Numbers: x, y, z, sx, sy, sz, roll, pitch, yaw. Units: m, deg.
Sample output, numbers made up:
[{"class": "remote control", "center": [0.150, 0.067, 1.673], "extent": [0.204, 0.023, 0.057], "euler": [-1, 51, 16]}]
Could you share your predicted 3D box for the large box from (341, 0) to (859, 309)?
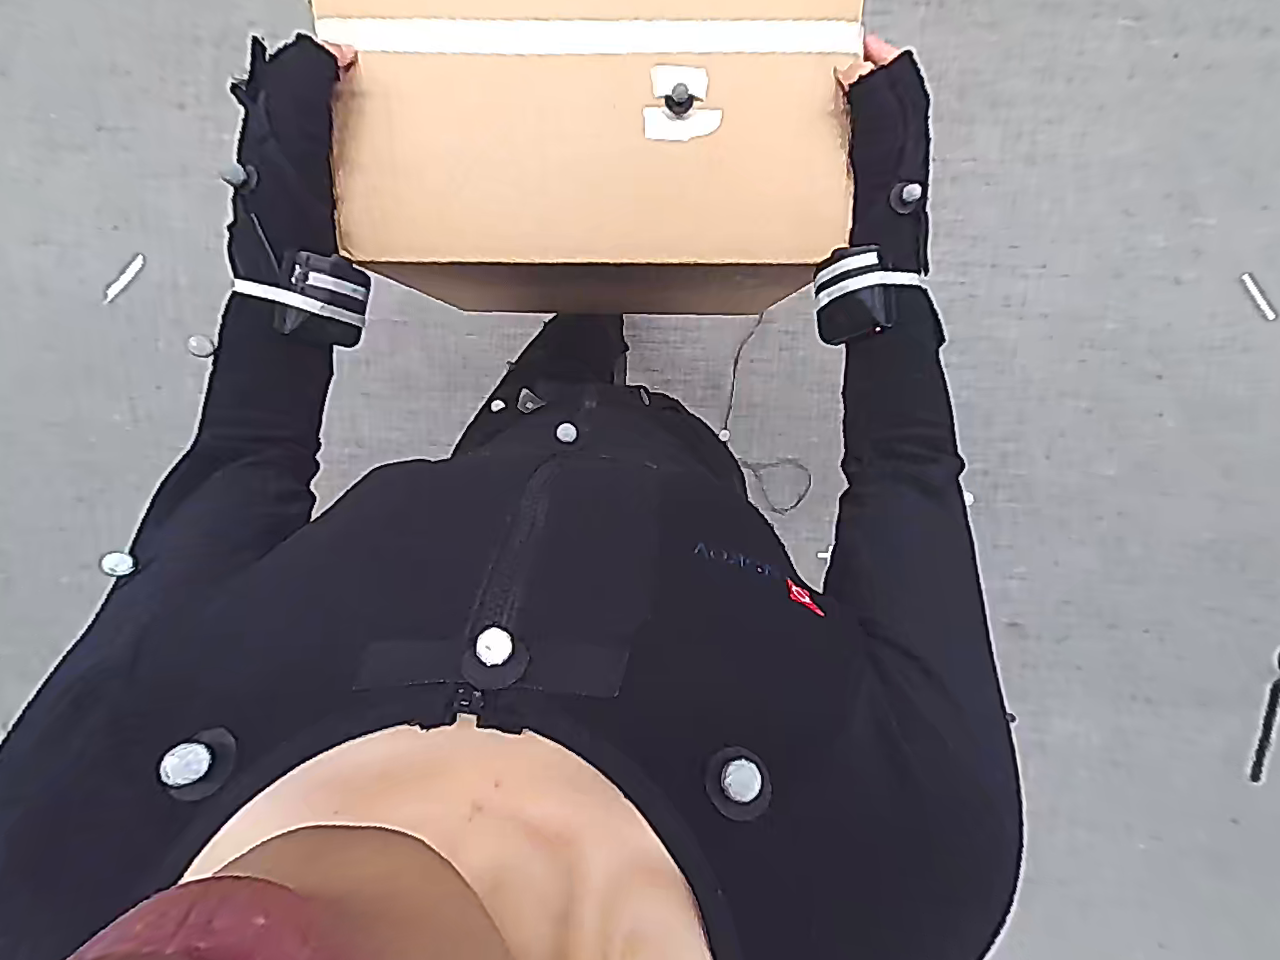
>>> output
[{"class": "large box", "center": [-0.033, -0.363, 0.564], "extent": [0.408, 0.320, 0.320], "euler": [0, 100, -1]}]
